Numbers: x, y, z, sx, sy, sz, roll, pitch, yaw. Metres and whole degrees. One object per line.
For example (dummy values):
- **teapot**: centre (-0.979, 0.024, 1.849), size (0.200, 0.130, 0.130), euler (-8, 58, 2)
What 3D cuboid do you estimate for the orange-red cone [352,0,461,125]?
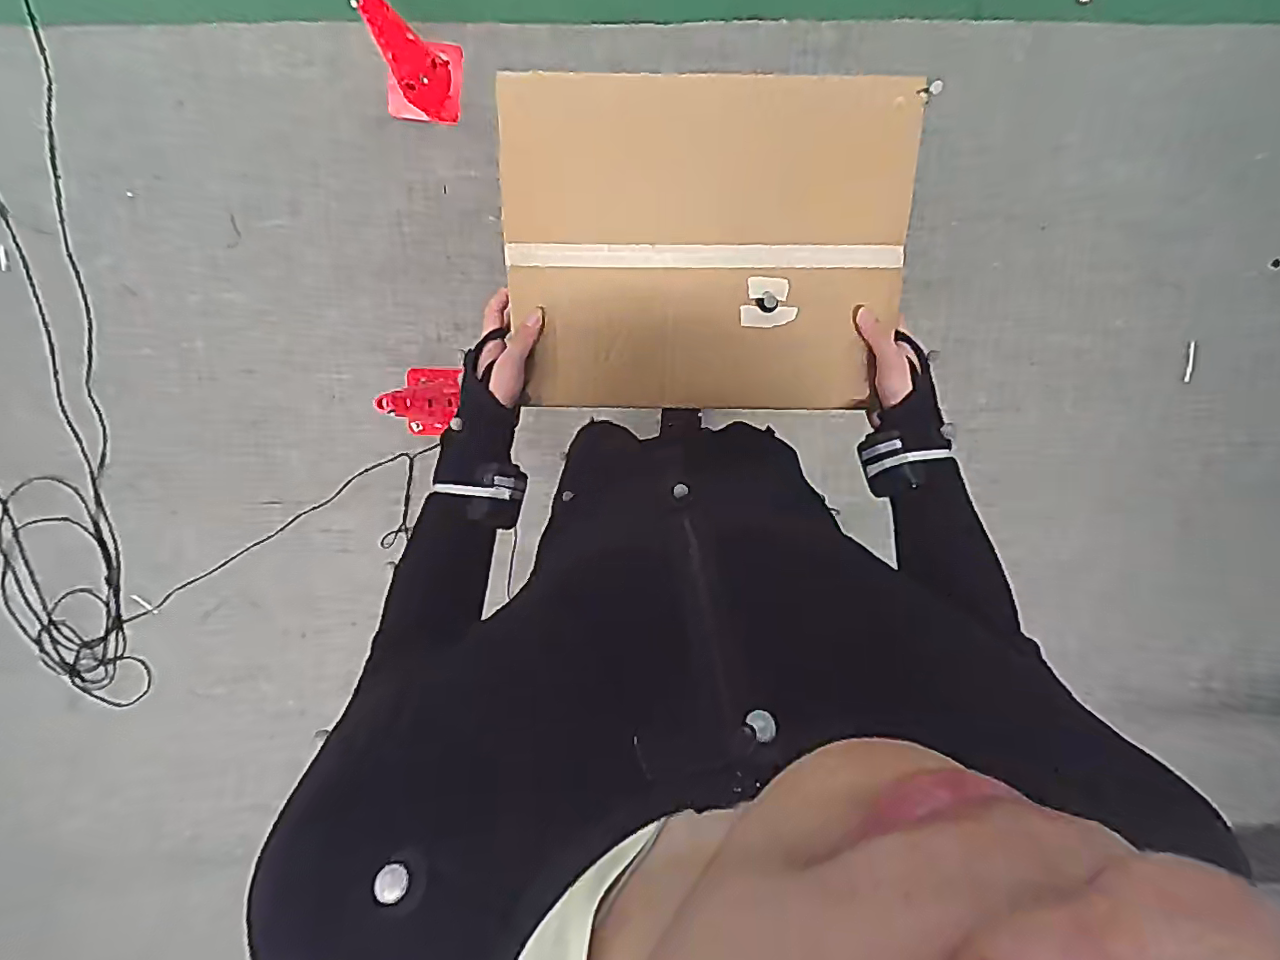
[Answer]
- **orange-red cone**: centre (-0.600, -1.061, 1.306), size (0.199, 0.360, 0.198), euler (8, 98, 1)

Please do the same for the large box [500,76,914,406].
- **large box**: centre (0.063, -0.277, 0.699), size (0.408, 0.320, 0.320), euler (-1, 108, -1)
